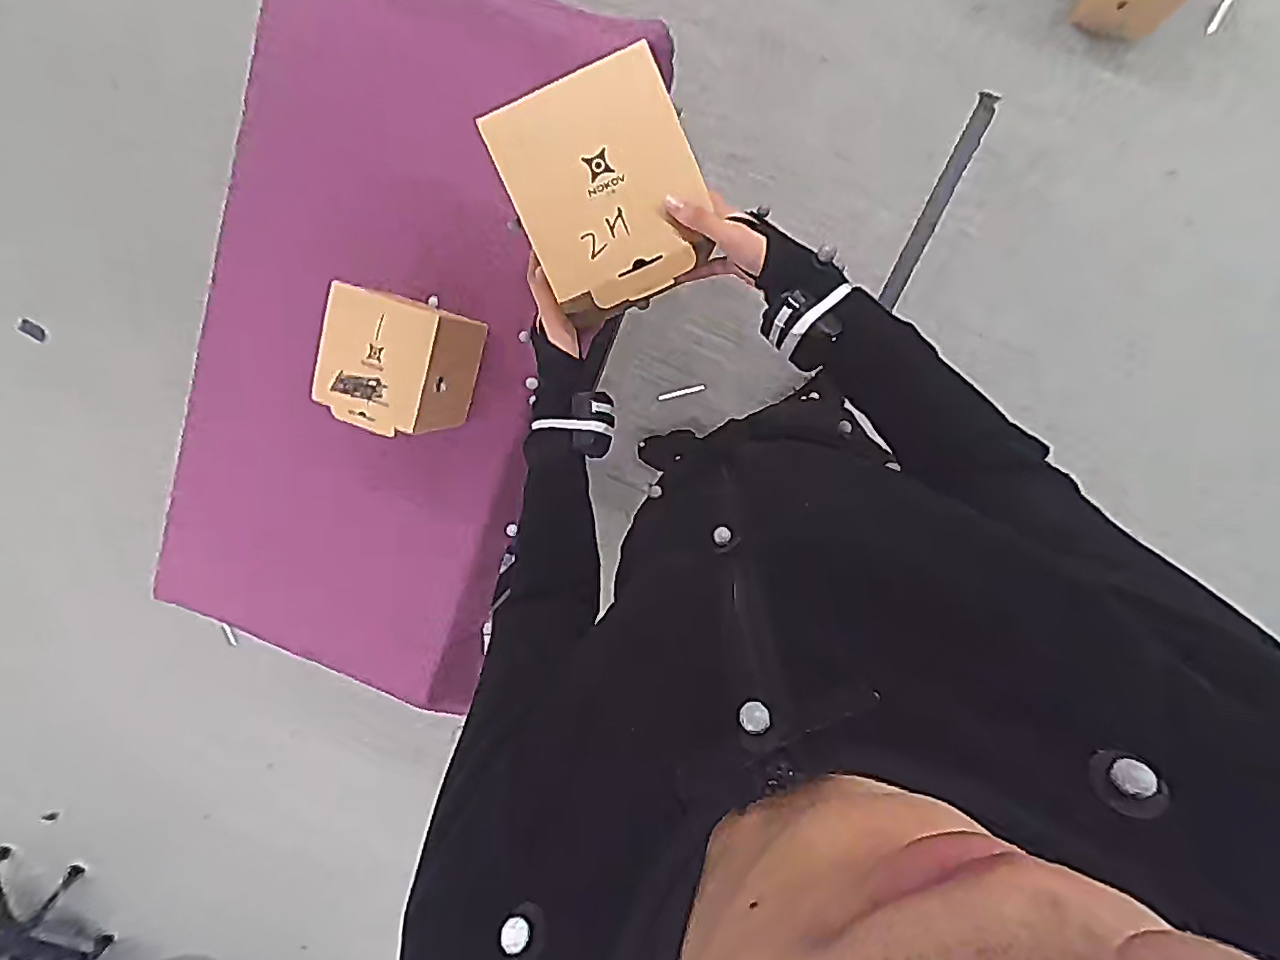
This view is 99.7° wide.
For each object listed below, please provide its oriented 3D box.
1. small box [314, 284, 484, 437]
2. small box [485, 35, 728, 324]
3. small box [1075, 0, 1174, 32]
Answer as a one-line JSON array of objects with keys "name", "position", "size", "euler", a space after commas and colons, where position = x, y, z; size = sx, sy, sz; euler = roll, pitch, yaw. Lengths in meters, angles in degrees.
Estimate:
[{"name": "small box", "position": [-0.363, -0.182, 0.839], "size": [0.168, 0.176, 0.179], "euler": [18, 103, 4]}, {"name": "small box", "position": [-0.030, -0.281, 0.552], "size": [0.168, 0.176, 0.179], "euler": [-24, 97, 3]}, {"name": "small box", "position": [1.113, -1.141, 1.188], "size": [0.168, 0.176, 0.179], "euler": [19, 103, 4]}]
